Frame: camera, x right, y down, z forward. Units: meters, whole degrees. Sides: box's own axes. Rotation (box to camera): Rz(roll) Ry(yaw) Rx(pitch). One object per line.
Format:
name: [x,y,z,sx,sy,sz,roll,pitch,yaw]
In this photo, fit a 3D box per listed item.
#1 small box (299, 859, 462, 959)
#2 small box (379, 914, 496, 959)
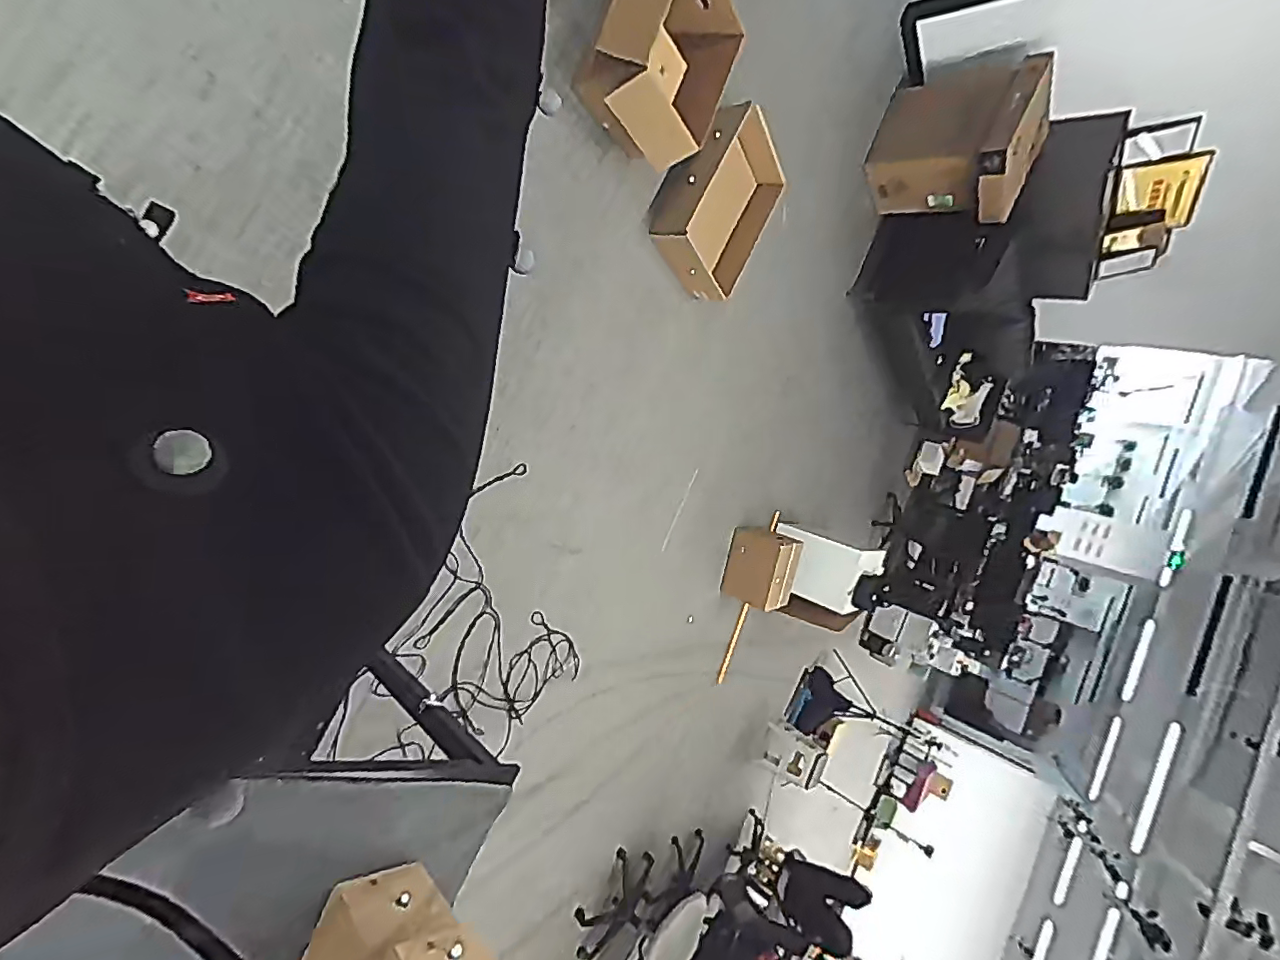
small box: [-0.444,0.786,0.918,0.168,0.176,0.179,28,85,-50]
small box: [-0.317,0.816,0.817,0.168,0.176,0.179,40,74,-50]
